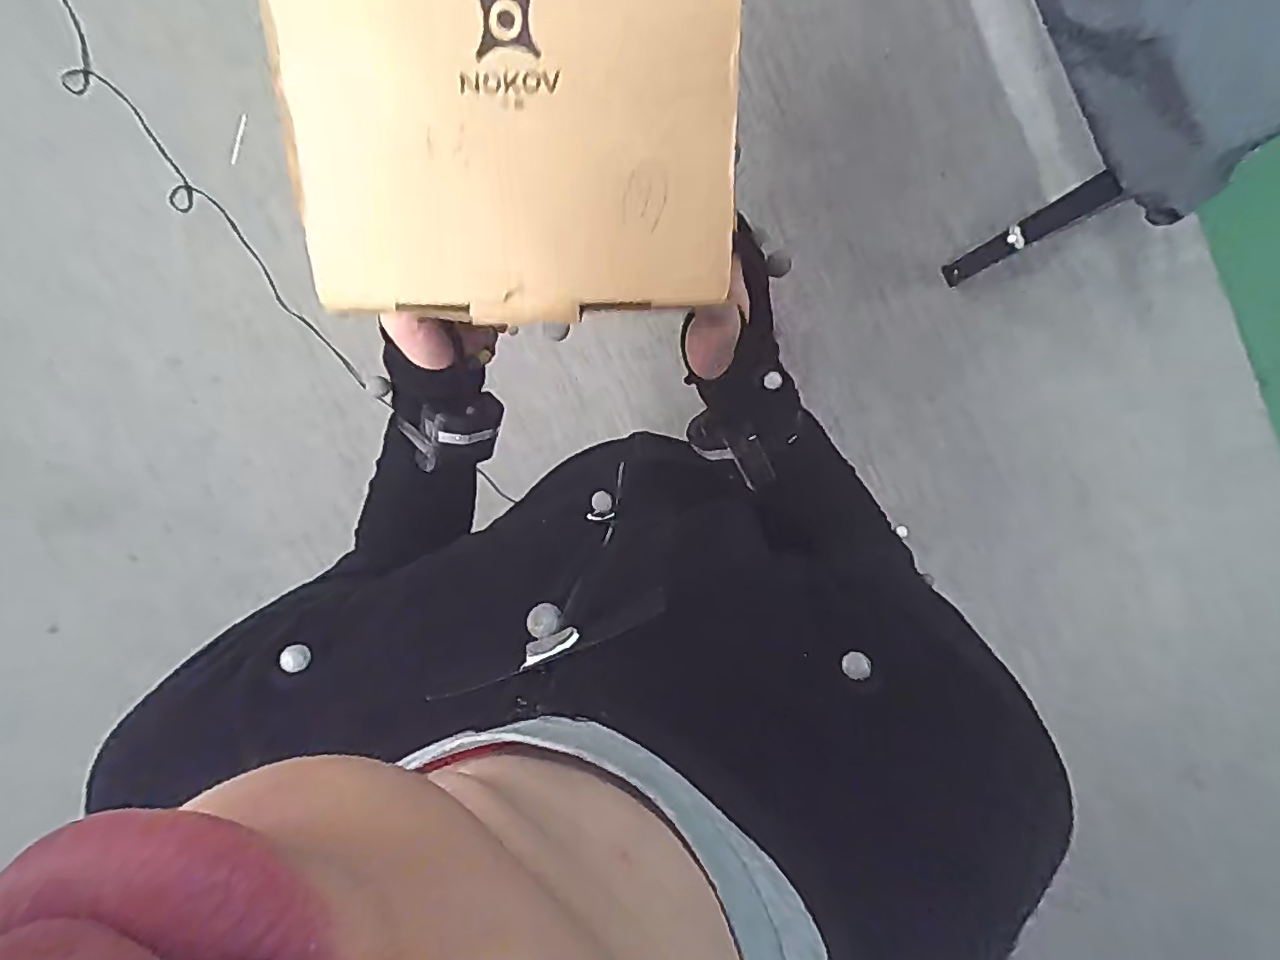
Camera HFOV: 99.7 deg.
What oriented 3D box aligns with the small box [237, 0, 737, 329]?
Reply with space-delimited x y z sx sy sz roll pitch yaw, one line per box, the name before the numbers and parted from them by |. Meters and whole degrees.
small box | -0.050 -0.171 0.257 0.168 0.176 0.179 -1 110 -1
